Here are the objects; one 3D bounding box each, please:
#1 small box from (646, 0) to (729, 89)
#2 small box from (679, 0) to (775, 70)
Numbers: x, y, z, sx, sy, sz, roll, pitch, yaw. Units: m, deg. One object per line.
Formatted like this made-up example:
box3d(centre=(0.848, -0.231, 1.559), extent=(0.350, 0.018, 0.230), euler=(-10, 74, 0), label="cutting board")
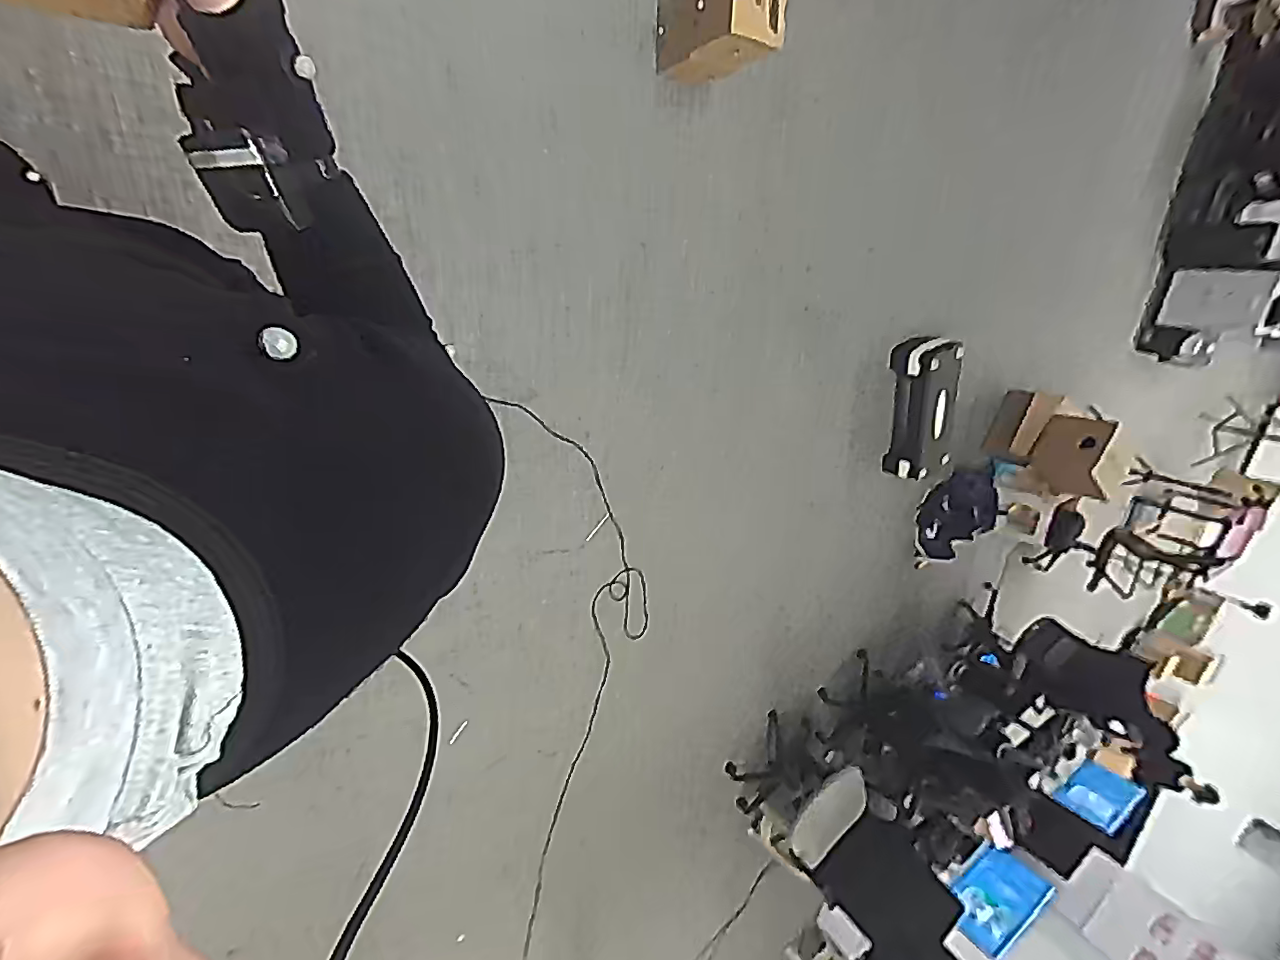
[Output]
box3d(centre=(0.135, -1.227, 1.520), extent=(0.179, 0.176, 0.168), euler=(-13, 113, -30), label="small box")
box3d(centre=(0.222, -1.186, 1.386), extent=(0.179, 0.176, 0.168), euler=(-11, 113, -31), label="small box")
